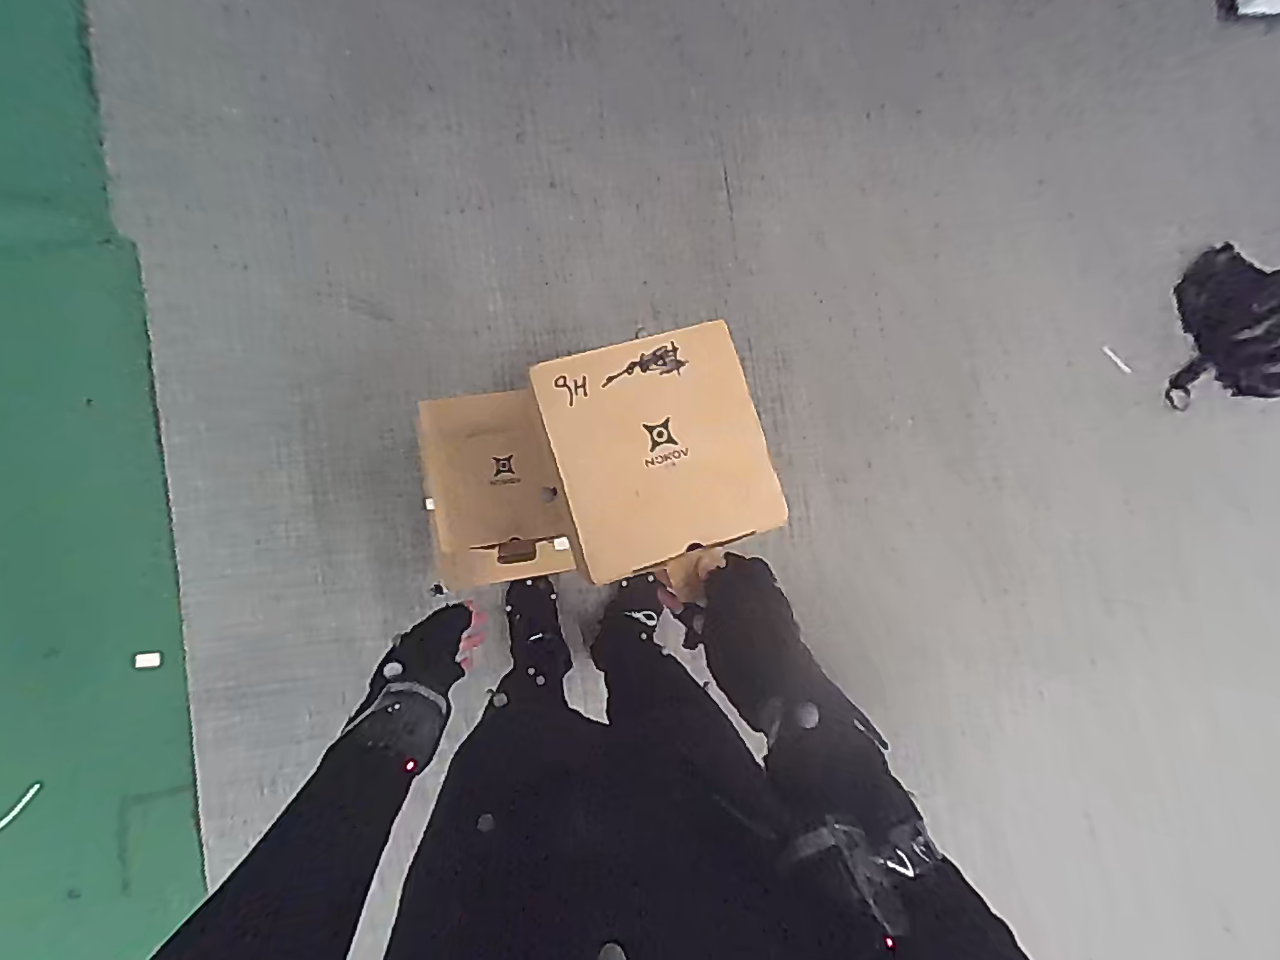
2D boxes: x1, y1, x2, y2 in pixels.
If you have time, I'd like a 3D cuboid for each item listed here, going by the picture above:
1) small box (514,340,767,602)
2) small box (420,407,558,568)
[{"bbox_3d":[-0.009,-0.004,0.504,0.168,0.176,0.179,-17,87,-11],"label":"small box"},{"bbox_3d":[-0.166,0.003,0.701,0.168,0.176,0.179,-9,92,-7],"label":"small box"}]
